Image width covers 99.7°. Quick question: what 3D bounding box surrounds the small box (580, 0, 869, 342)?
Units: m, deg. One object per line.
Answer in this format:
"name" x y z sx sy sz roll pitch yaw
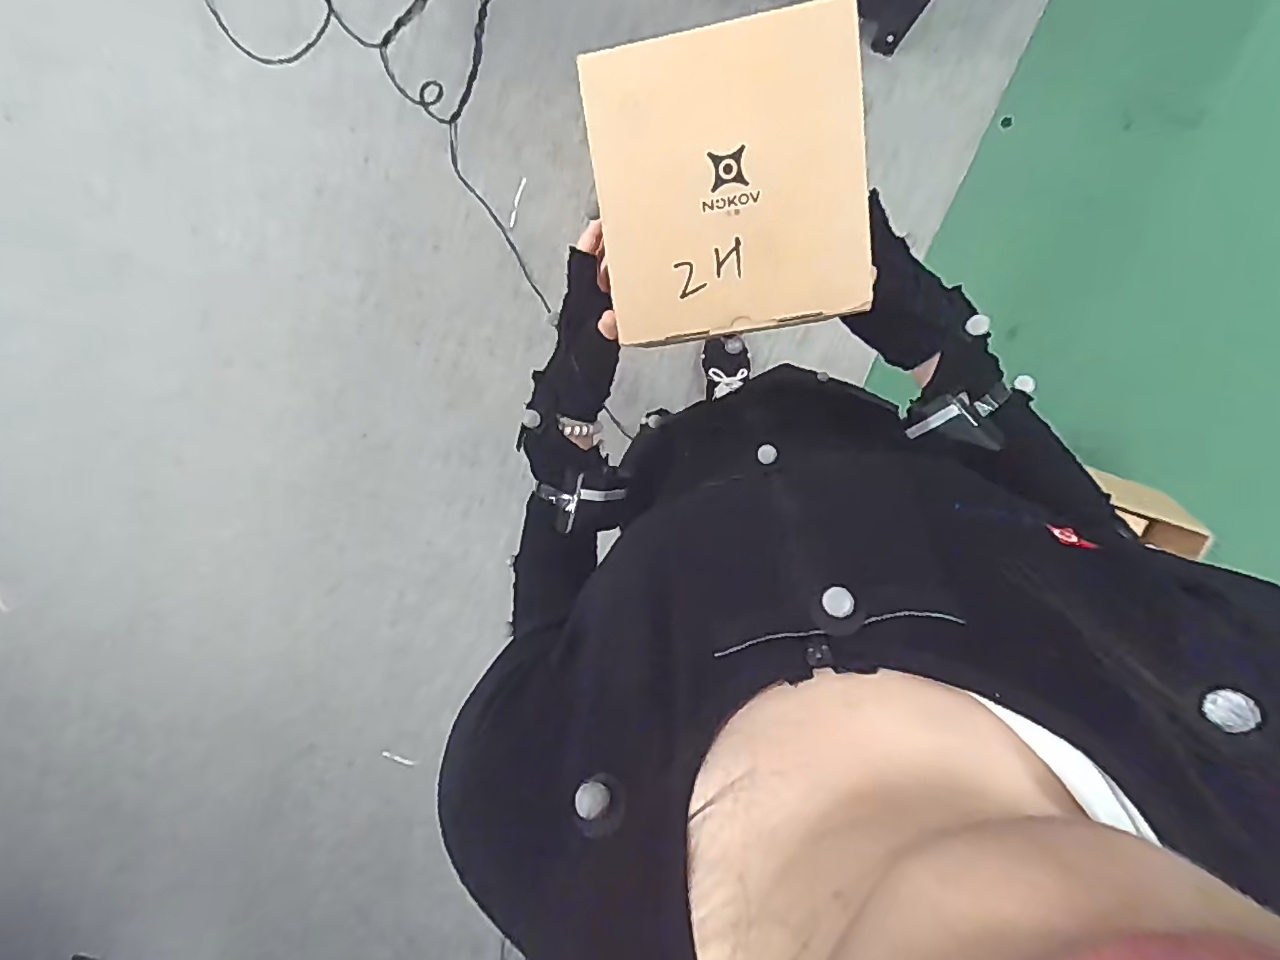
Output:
"small box" 0.061 -0.204 0.409 0.168 0.176 0.179 -6 103 8
